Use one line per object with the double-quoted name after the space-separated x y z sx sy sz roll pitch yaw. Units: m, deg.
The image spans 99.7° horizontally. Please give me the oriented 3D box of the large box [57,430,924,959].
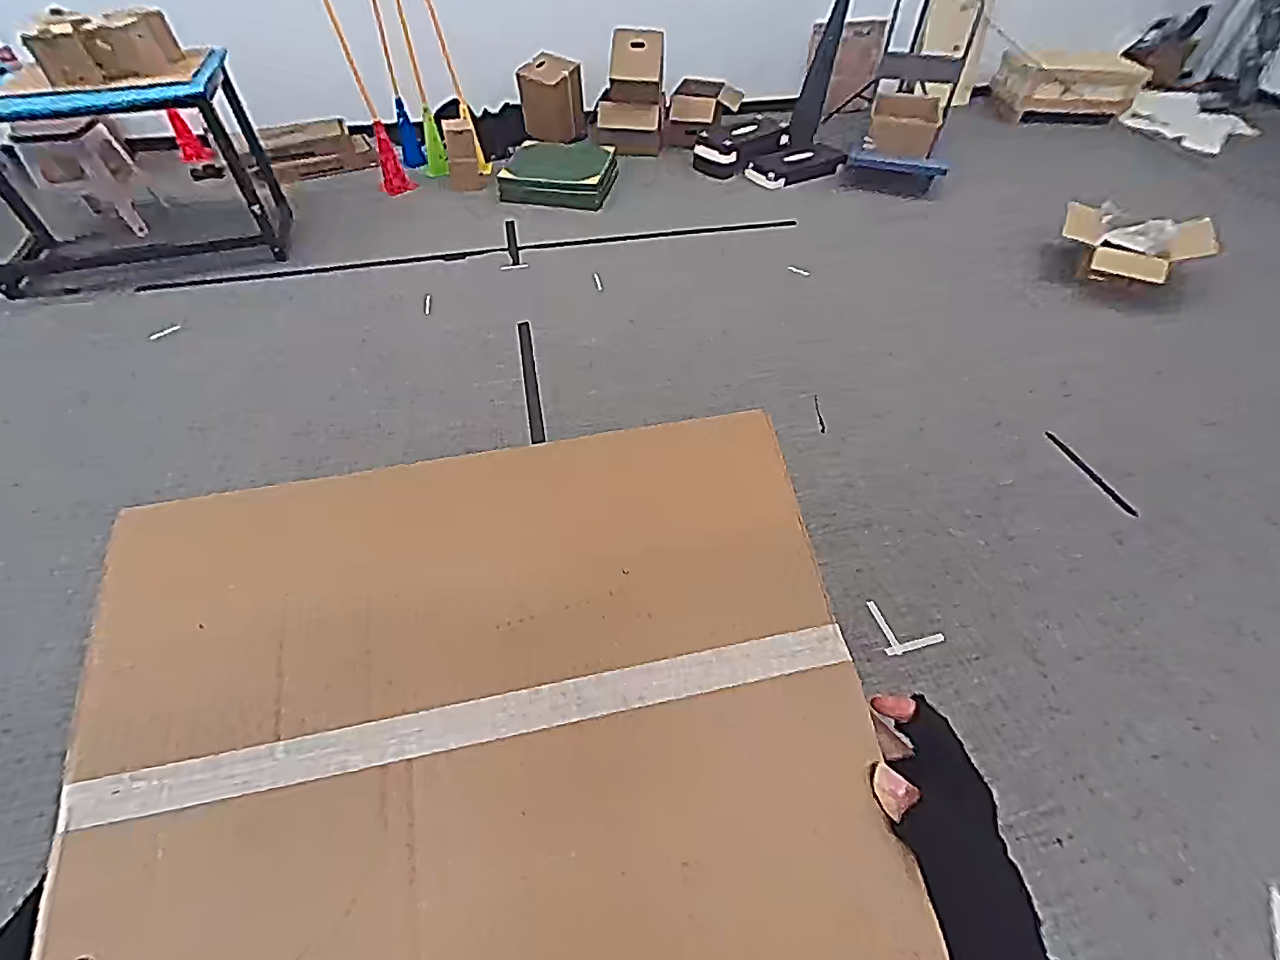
-0.088 0.195 0.431 0.408 0.320 0.320 -10 67 -6 "large box"
